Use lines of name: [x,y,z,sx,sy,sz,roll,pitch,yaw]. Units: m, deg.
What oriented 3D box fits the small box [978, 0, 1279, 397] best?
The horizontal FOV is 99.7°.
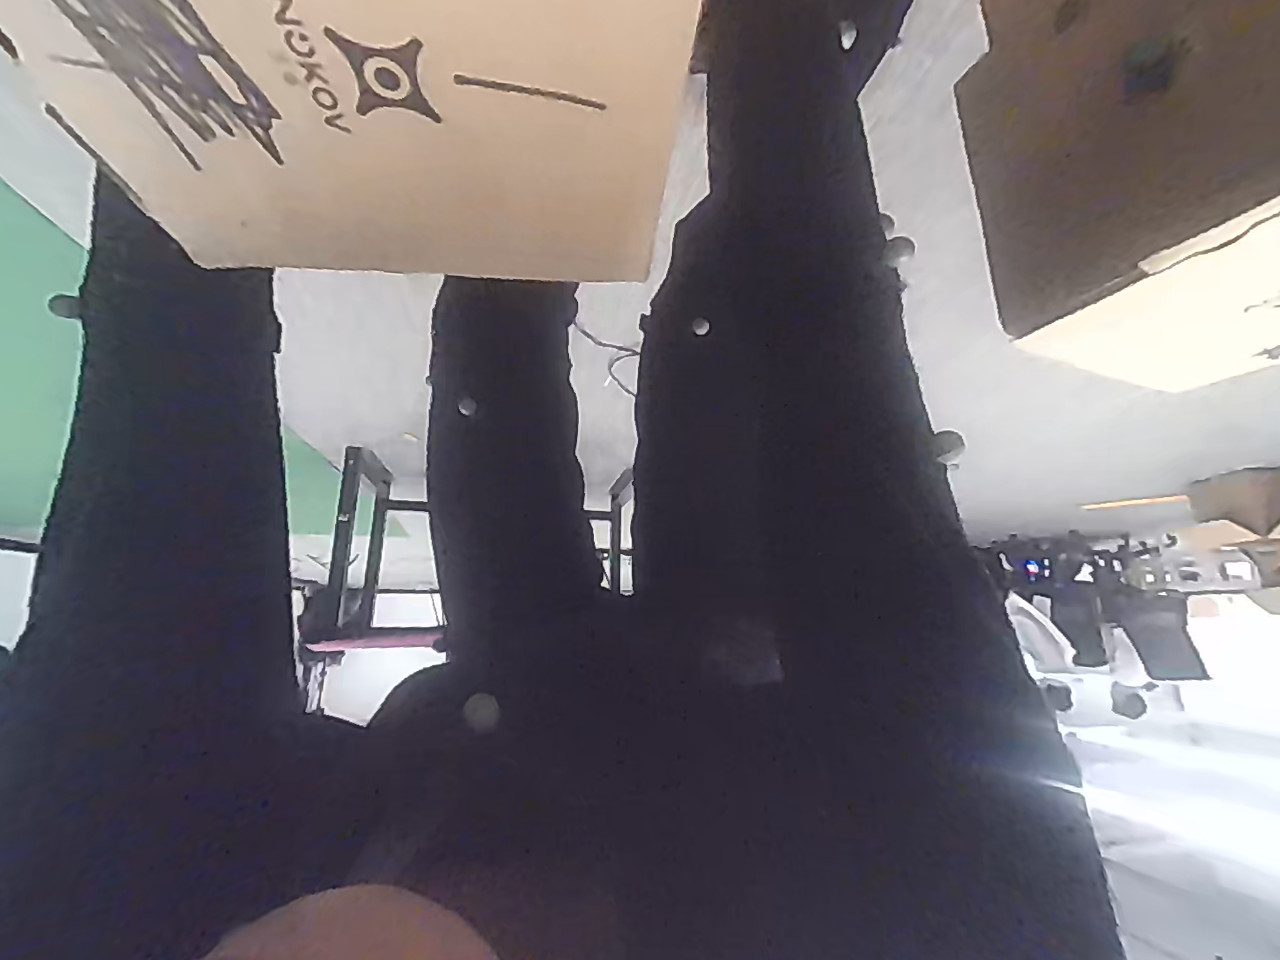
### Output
small box: [0.300,-0.161,0.259,0.179,0.176,0.168,7,163,-24]
